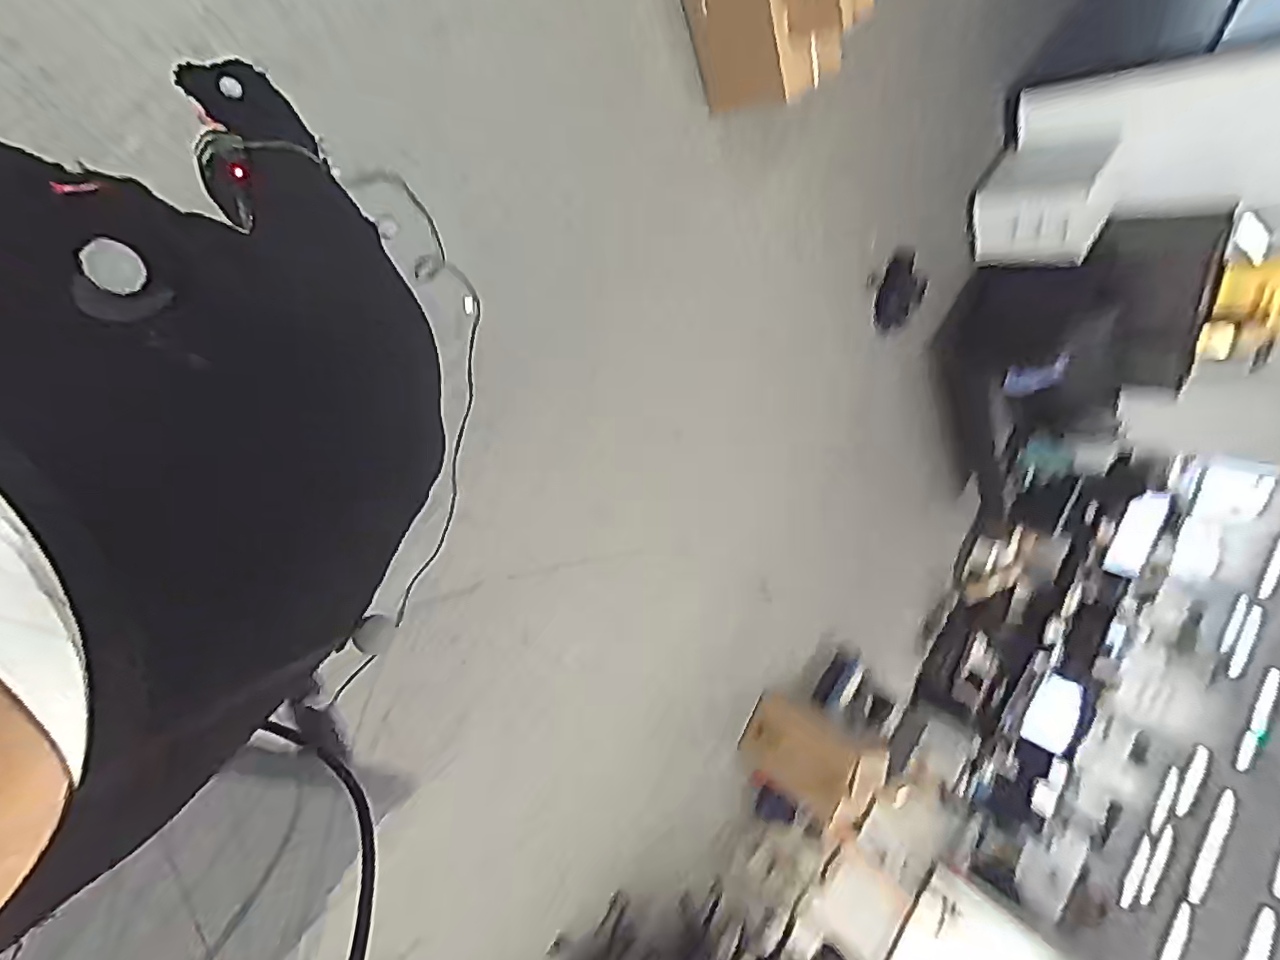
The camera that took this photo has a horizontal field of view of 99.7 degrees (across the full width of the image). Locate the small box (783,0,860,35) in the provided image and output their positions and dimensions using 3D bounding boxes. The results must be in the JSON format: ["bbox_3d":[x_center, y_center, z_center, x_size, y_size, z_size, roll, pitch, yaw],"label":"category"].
[{"bbox_3d":[0.493,-1.362,1.465,0.168,0.176,0.179,-49,133,-16],"label":"small box"}]
